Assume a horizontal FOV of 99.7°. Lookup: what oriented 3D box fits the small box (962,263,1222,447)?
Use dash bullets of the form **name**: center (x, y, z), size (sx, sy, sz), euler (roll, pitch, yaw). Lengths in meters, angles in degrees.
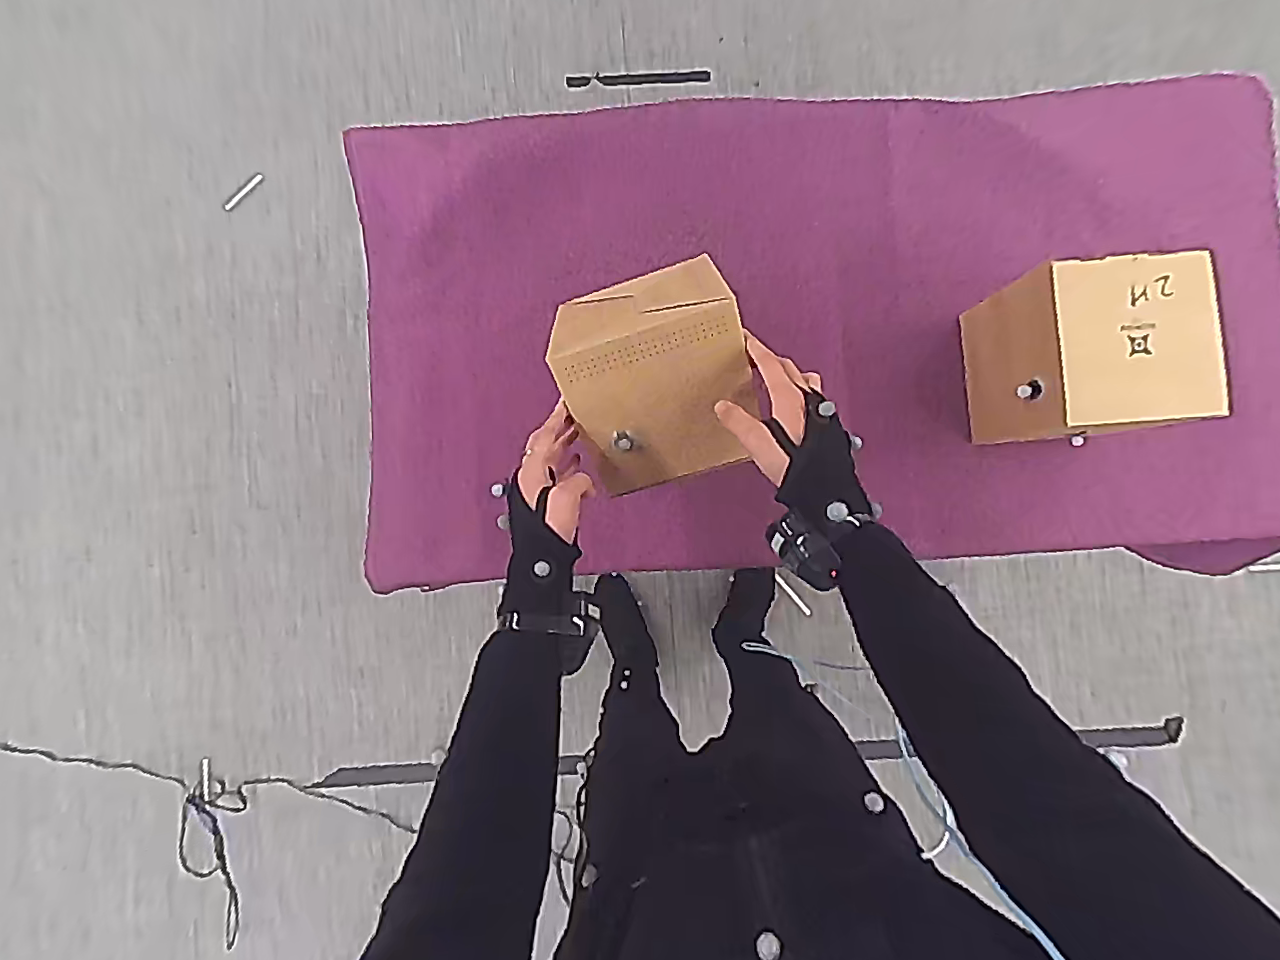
- **small box**: center (0.513, -0.132, 0.640), size (0.168, 0.176, 0.179), euler (-4, 87, 1)
